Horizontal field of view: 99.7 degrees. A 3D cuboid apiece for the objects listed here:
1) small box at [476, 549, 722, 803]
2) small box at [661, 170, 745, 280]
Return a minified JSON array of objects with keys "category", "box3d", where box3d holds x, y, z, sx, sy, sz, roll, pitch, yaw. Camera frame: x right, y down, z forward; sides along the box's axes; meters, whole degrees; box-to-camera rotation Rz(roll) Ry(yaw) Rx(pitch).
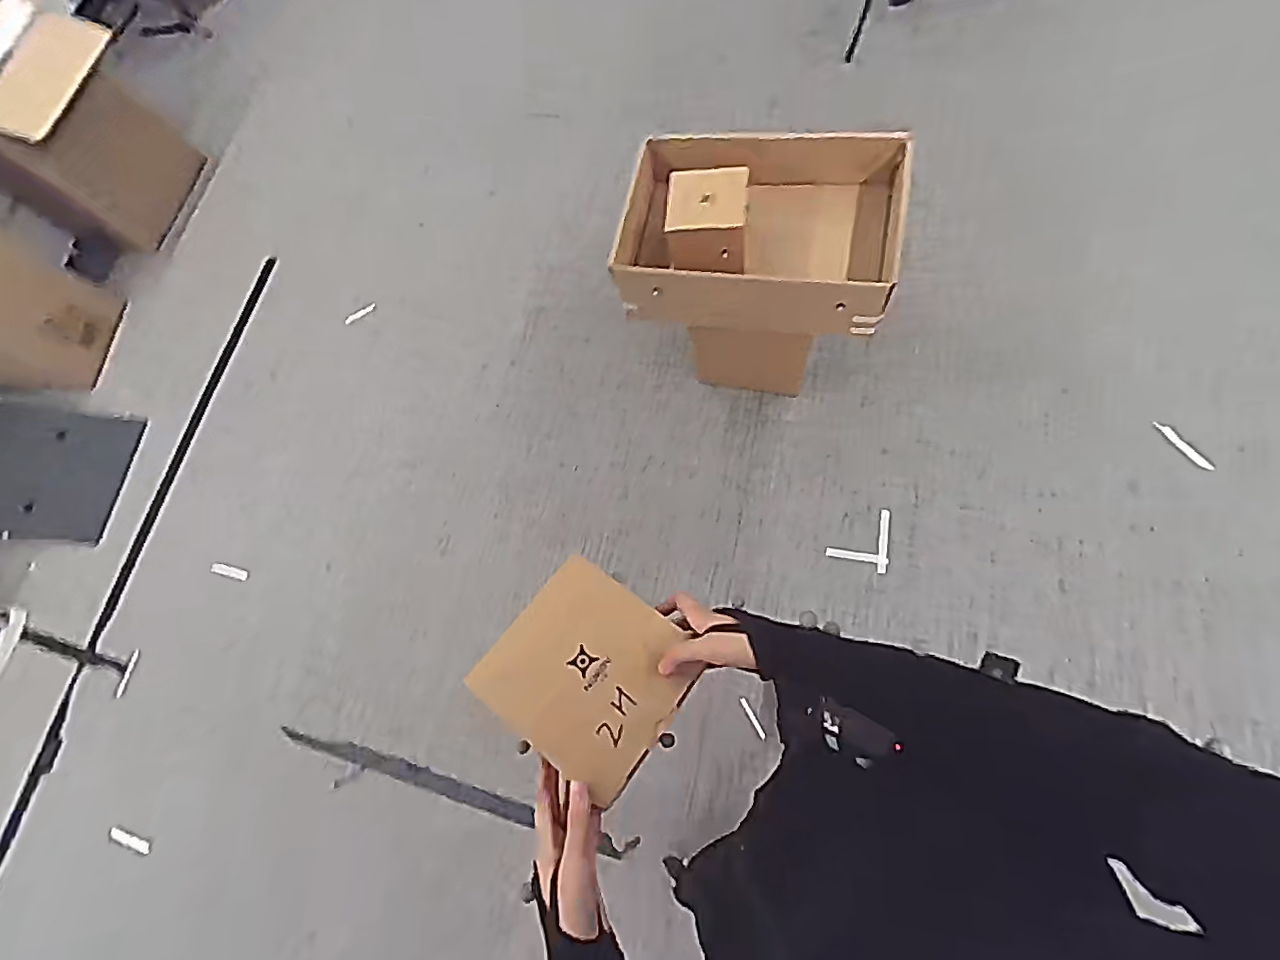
[{"category":"small box","box3d":[-0.038,0.209,0.579,0.179,0.176,0.168,35,69,16]},{"category":"small box","box3d":[0.153,-0.589,1.266,0.179,0.176,0.168,2,72,12]}]
